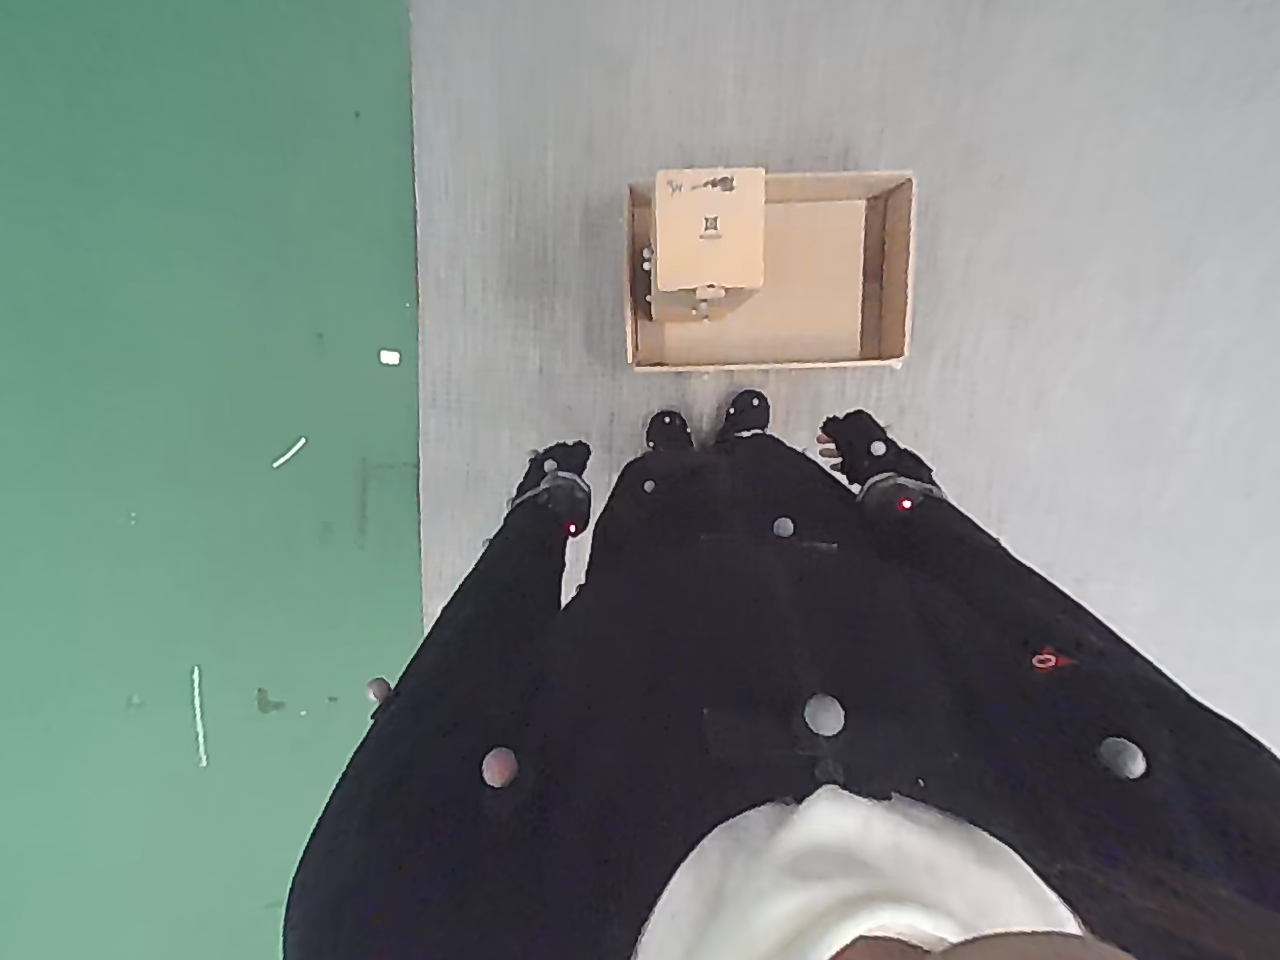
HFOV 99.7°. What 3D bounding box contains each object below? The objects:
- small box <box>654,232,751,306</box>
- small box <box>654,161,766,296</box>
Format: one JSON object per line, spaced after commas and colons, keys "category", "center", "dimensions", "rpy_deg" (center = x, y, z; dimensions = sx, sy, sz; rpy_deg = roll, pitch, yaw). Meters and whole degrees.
{"category": "small box", "center": [0.117, -0.439, 1.061], "dimensions": [0.179, 0.176, 0.168], "rpy_deg": [0, 100, 1]}
{"category": "small box", "center": [0.108, -0.406, 0.901], "dimensions": [0.168, 0.176, 0.179], "rpy_deg": [-1, 101, 0]}
